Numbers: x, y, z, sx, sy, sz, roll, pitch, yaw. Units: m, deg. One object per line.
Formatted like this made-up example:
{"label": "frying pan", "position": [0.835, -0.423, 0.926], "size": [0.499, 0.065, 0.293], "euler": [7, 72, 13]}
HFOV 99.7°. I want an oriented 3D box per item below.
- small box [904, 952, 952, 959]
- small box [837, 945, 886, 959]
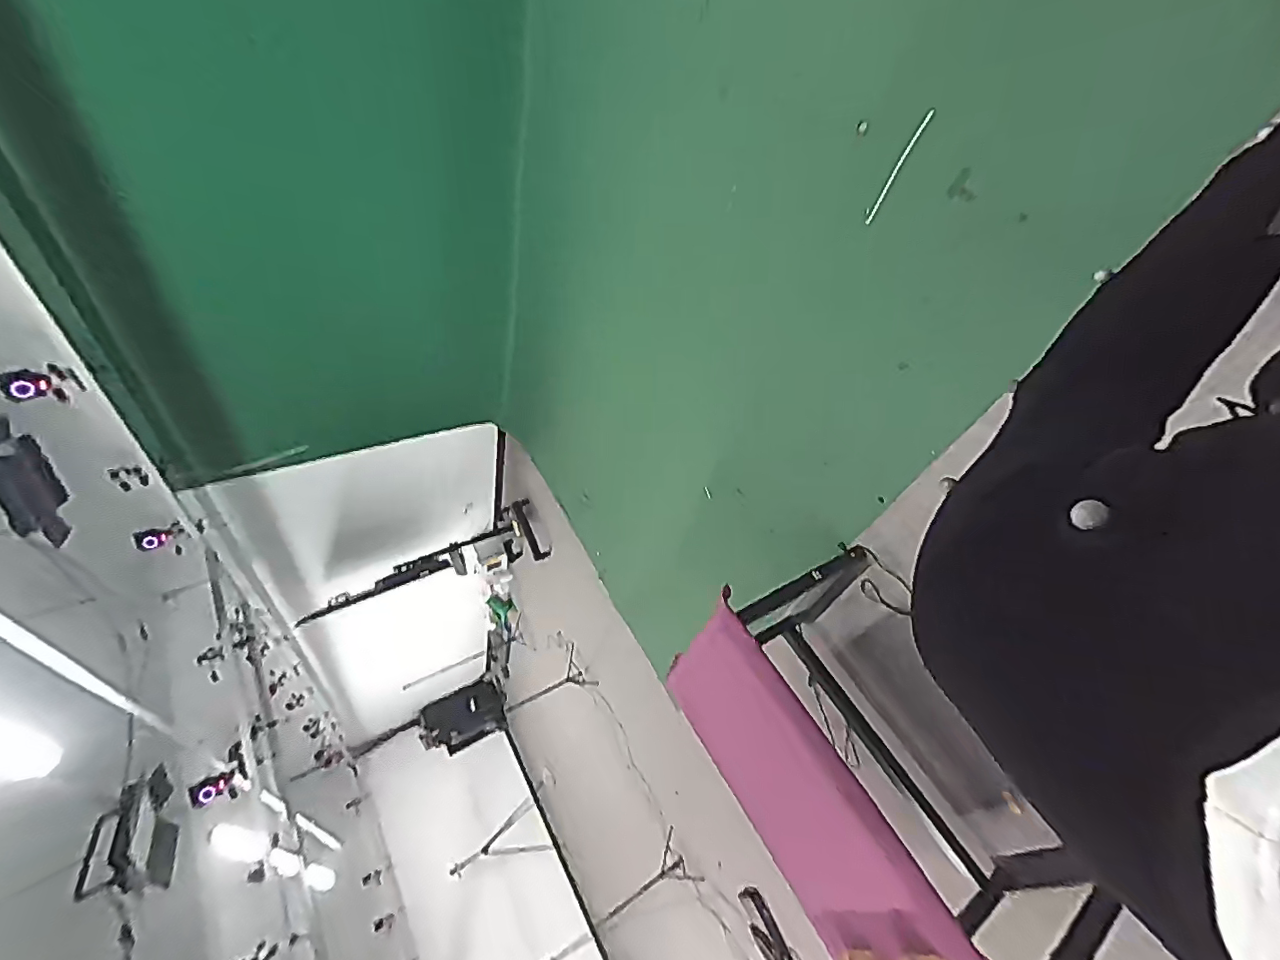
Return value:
{"label": "small box", "position": [0.696, 1.269, 1.284], "size": [0.168, 0.176, 0.179], "euler": [53, 148, 28]}
{"label": "small box", "position": [0.630, 1.450, 1.502], "size": [0.179, 0.176, 0.168], "euler": [56, 147, 27]}
